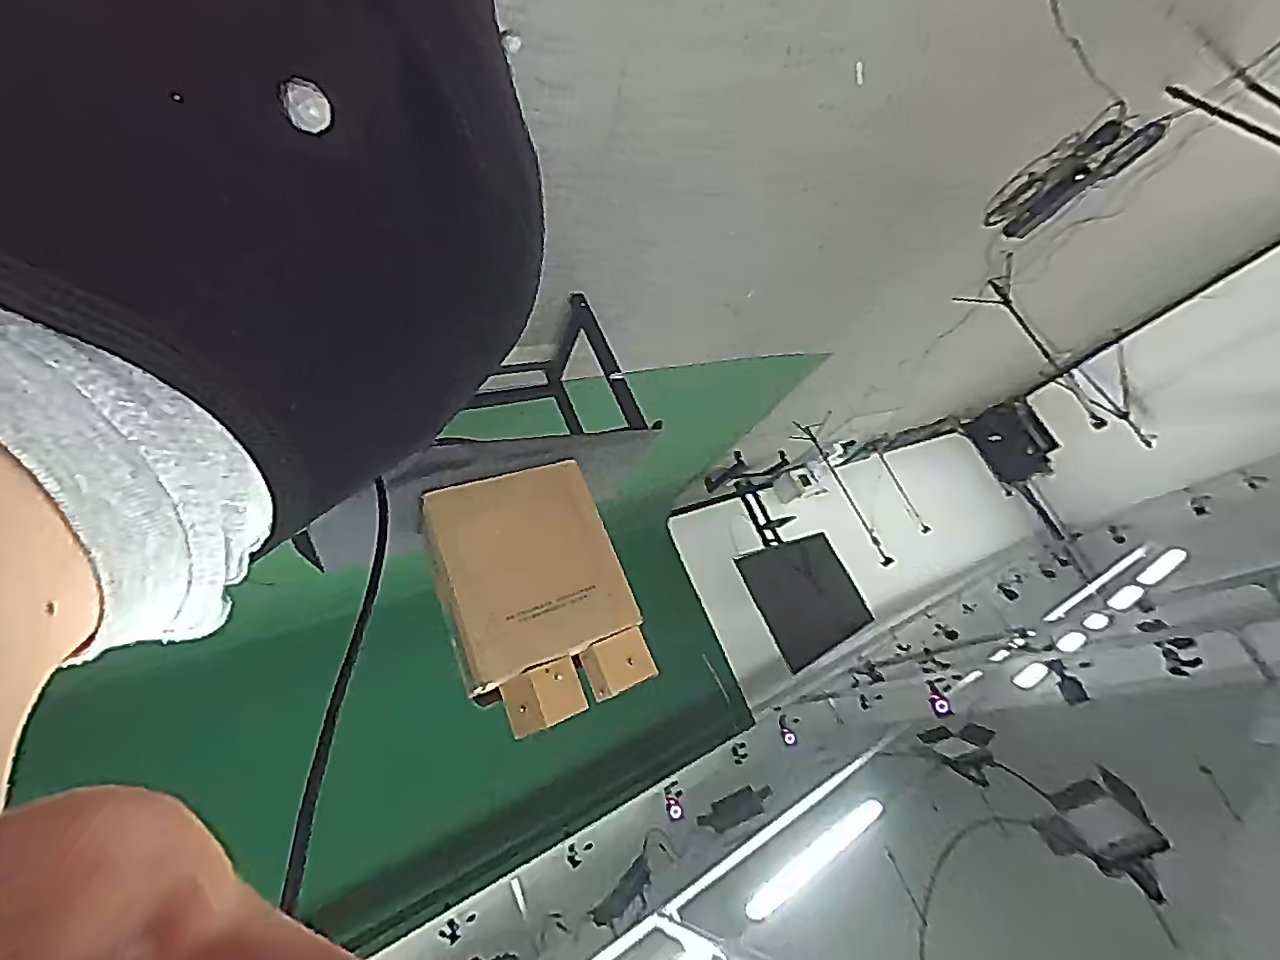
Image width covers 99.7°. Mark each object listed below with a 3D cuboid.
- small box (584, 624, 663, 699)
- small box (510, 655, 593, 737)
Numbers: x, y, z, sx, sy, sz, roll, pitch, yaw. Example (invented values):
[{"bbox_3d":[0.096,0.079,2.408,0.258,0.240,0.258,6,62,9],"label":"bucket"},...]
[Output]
[{"bbox_3d":[-0.060,0.595,1.783,0.179,0.176,0.168,-18,160,-29],"label":"small box"},{"bbox_3d":[-0.279,0.657,1.658,0.168,0.176,0.179,-3,152,-50],"label":"small box"}]
